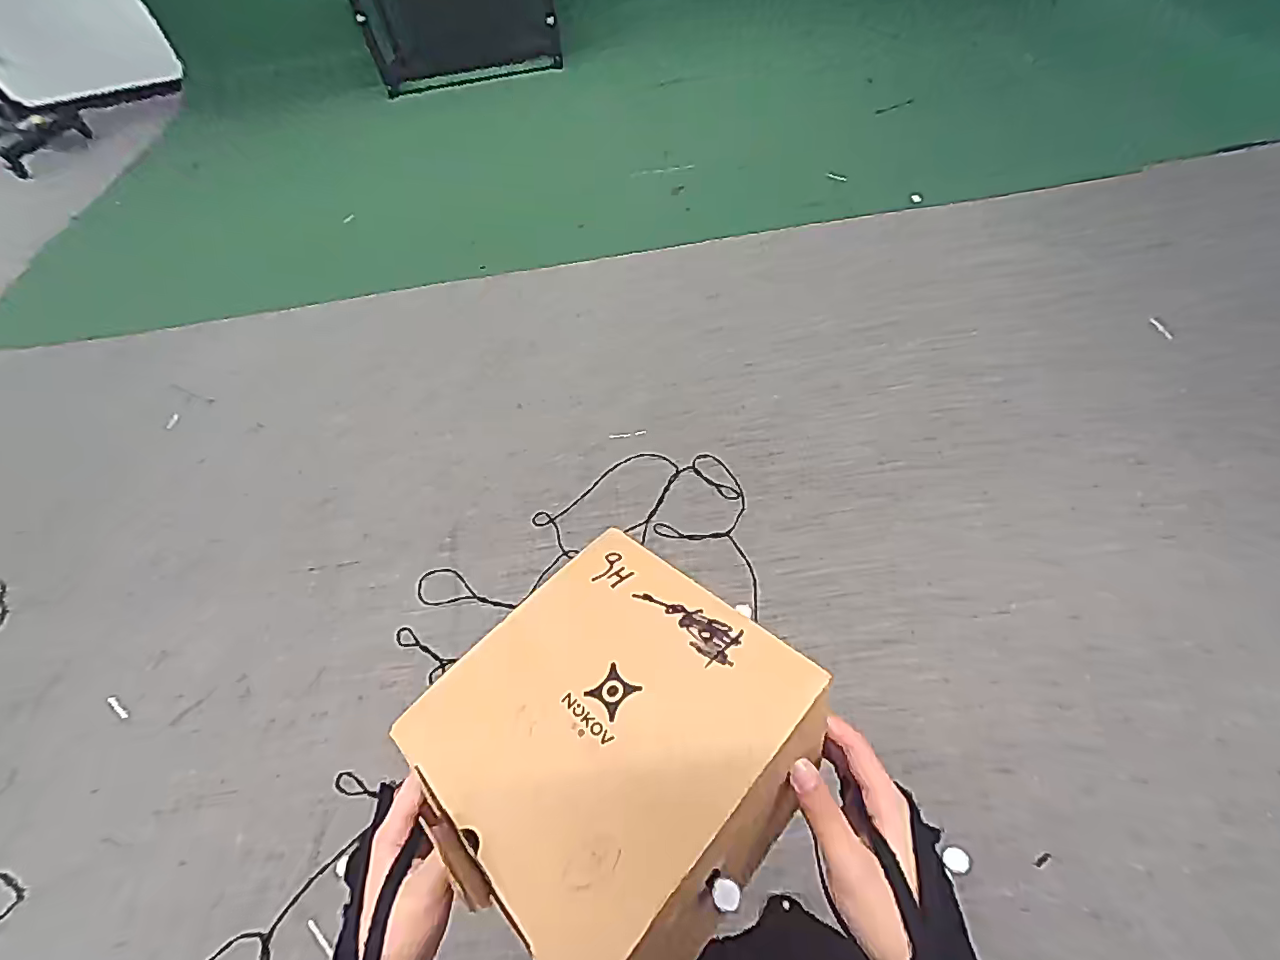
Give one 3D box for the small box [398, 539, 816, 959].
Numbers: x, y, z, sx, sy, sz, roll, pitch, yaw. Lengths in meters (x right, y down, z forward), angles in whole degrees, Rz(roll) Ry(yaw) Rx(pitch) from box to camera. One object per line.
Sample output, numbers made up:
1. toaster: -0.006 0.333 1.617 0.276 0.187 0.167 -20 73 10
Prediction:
1. small box: -0.006 0.178 0.344 0.168 0.176 0.179 30 61 35
